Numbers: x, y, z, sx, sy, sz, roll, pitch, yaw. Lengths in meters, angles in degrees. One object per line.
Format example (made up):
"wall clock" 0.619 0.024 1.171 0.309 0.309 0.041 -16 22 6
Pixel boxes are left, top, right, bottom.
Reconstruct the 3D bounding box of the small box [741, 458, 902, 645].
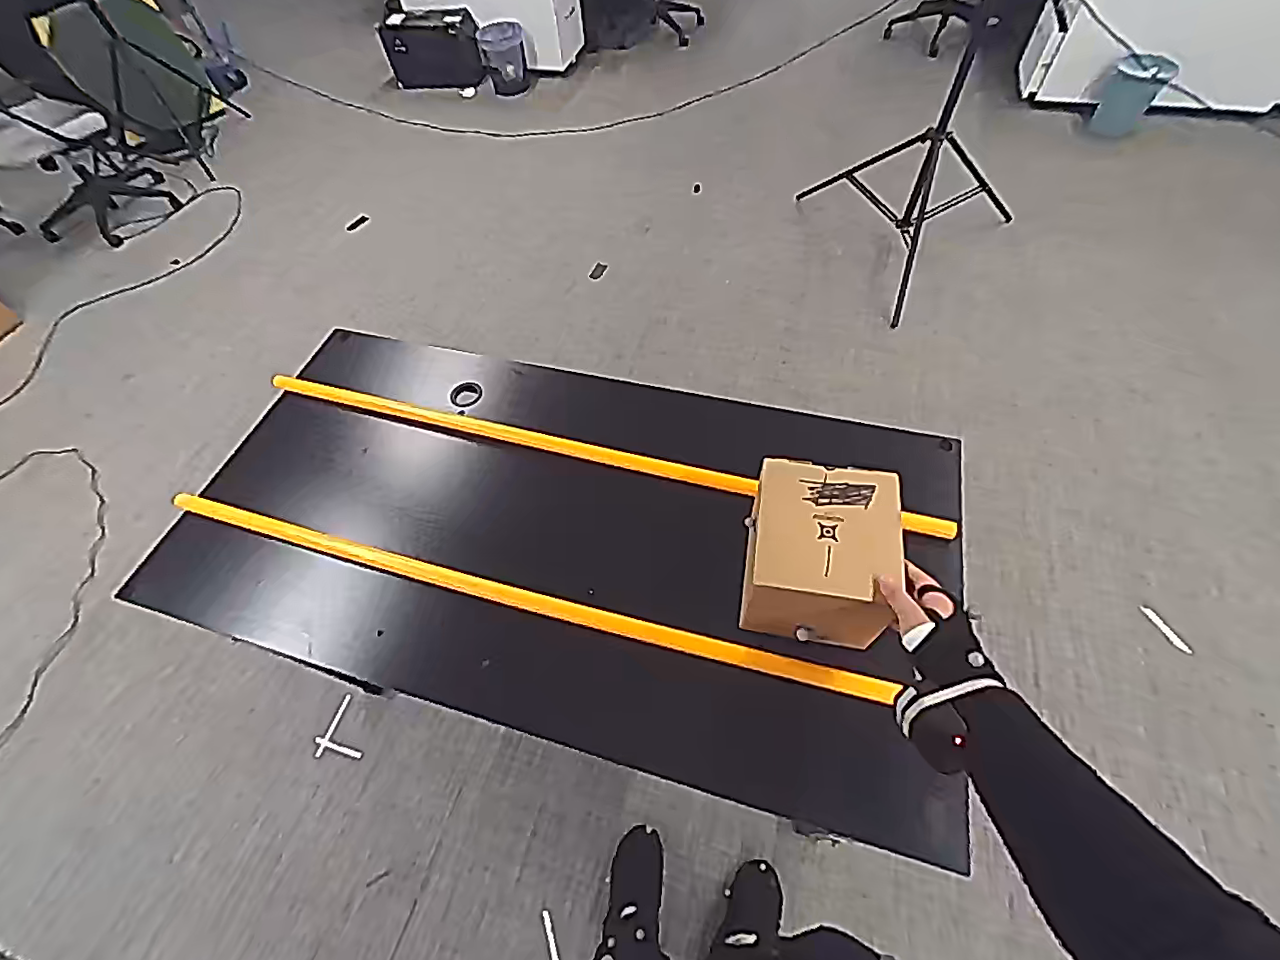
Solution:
"small box" 0.227 0.096 0.710 0.168 0.176 0.179 7 59 10
